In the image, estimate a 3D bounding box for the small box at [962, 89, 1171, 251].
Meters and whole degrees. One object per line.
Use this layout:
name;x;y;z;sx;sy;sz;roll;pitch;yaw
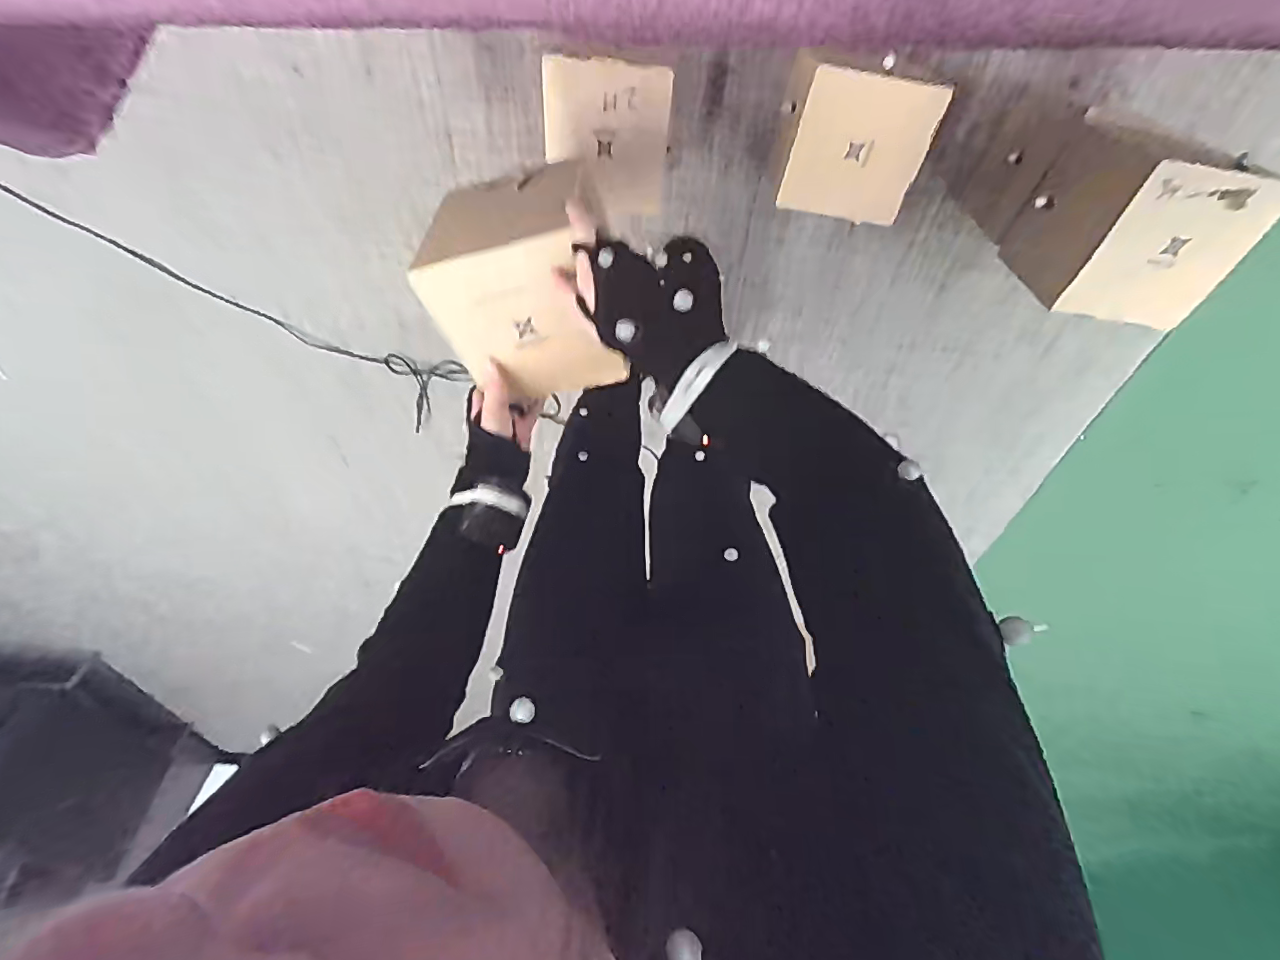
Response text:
small box;0.610;-0.438;0.792;0.168;0.176;0.179;12;134;-6

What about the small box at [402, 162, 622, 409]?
small box;-0.118;-0.207;0.590;0.168;0.176;0.179;-9;141;11

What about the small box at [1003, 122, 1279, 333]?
small box;0.601;-0.316;0.680;0.168;0.176;0.179;8;137;-5
